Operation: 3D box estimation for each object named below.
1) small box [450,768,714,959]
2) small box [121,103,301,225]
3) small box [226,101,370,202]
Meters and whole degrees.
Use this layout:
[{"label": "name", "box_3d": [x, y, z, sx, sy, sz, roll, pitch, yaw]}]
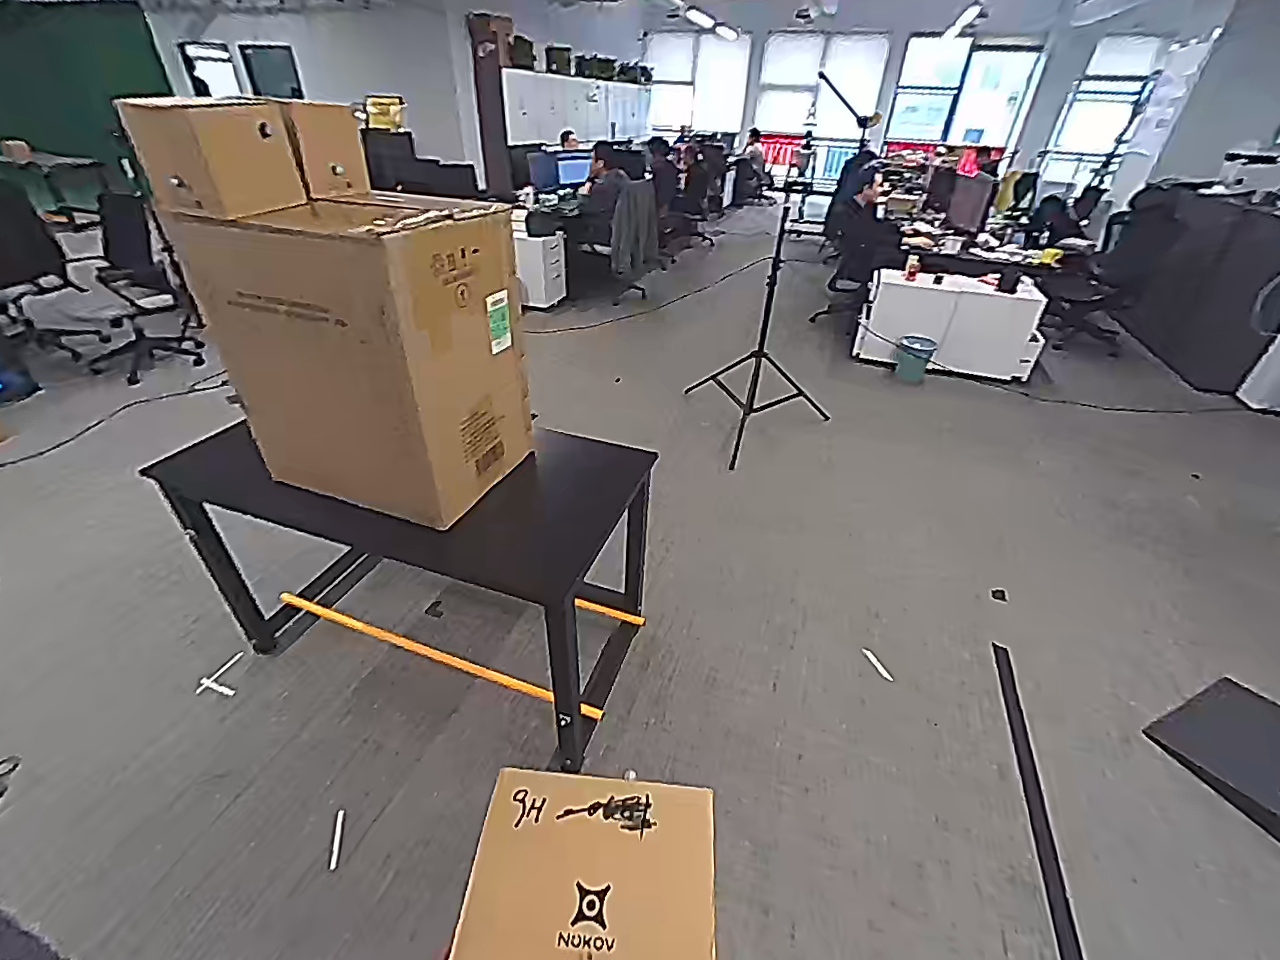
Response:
[{"label": "small box", "box_3d": [-0.034, 0.342, 0.399, 0.168, 0.176, 0.179, 4, 42, 3]}, {"label": "small box", "box_3d": [-0.760, -0.580, 0.986, 0.168, 0.176, 0.179, 13, 39, 15]}, {"label": "small box", "box_3d": [-0.711, -0.691, 1.144, 0.179, 0.176, 0.168, 14, 35, 15]}]
